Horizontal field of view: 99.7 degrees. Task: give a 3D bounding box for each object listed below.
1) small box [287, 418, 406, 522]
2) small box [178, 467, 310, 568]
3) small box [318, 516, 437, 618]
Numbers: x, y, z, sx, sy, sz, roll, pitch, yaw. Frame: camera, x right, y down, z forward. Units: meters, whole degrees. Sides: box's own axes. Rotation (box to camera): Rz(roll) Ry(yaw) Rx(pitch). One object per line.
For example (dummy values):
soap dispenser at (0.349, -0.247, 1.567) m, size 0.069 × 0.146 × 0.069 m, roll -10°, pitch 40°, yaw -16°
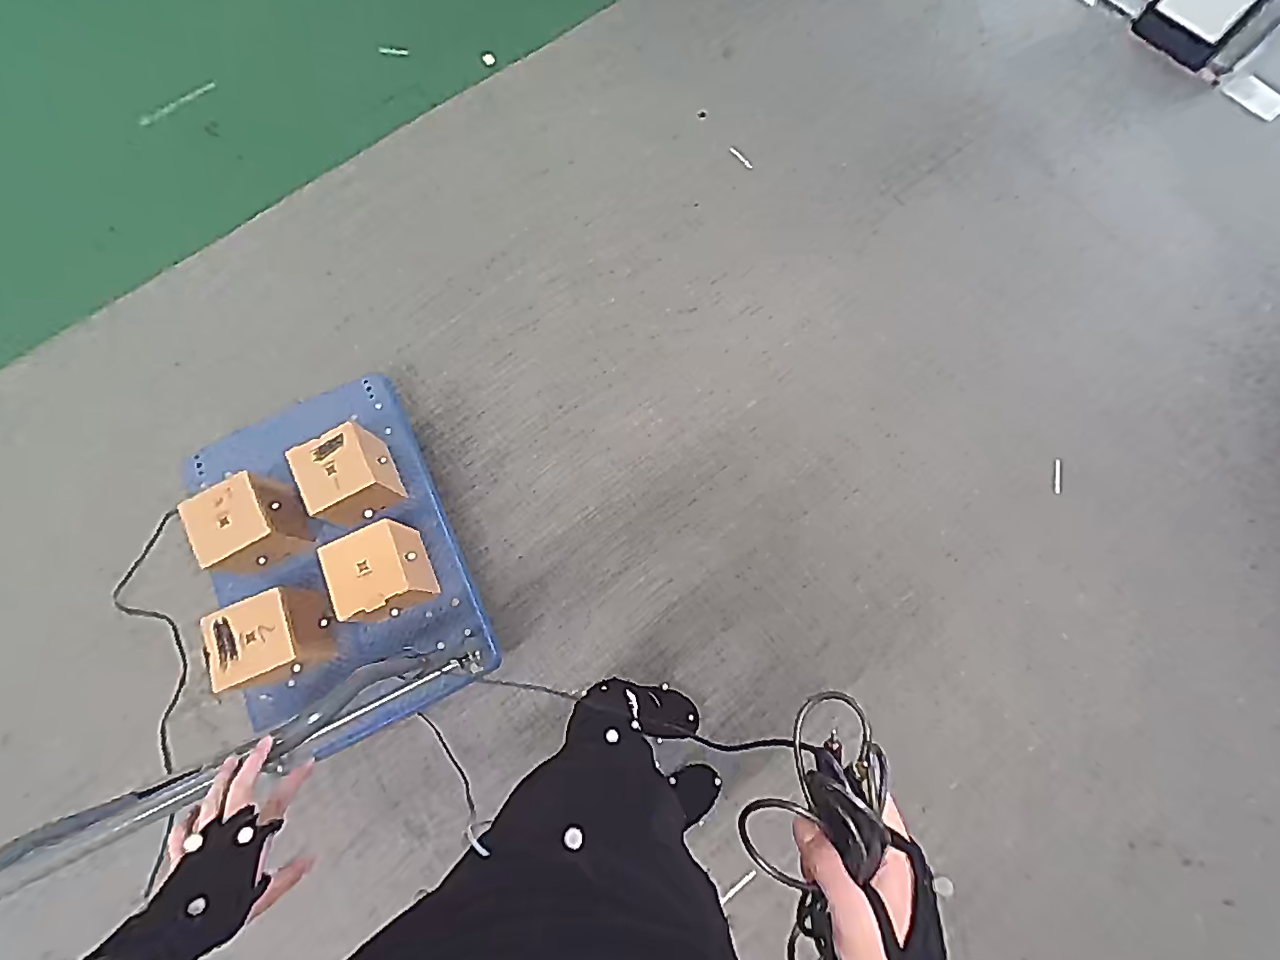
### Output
small box at (-0.703, -0.017, 1.312) m, size 0.168 × 0.176 × 0.179 m, roll -27°, pitch 77°, yaw -5°
small box at (-0.931, 0.099, 1.288) m, size 0.168 × 0.176 × 0.179 m, roll -29°, pitch 76°, yaw -7°
small box at (-0.598, 0.208, 1.251) m, size 0.168 × 0.176 × 0.179 m, roll -24°, pitch 76°, yaw -5°
